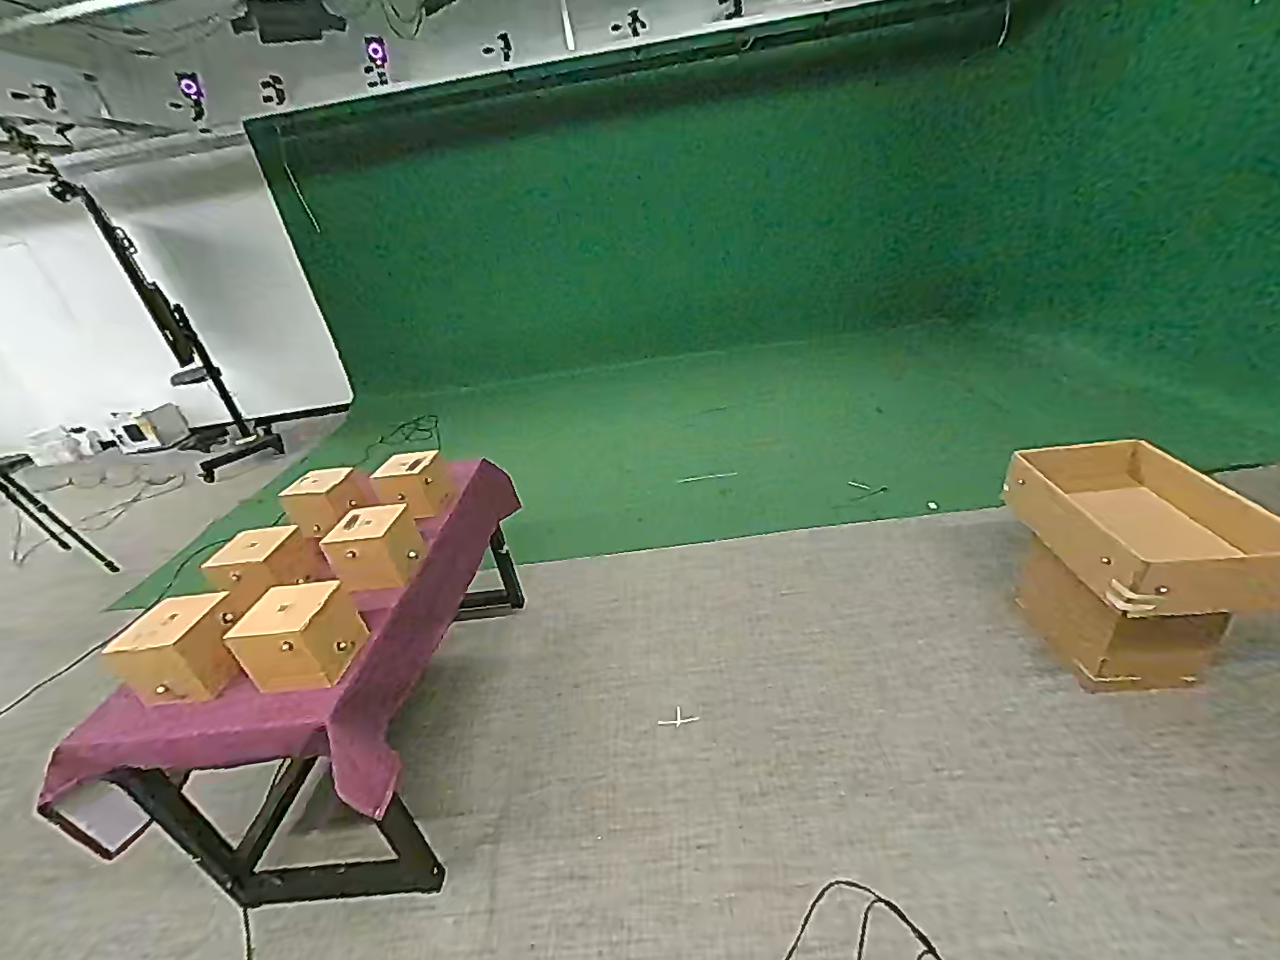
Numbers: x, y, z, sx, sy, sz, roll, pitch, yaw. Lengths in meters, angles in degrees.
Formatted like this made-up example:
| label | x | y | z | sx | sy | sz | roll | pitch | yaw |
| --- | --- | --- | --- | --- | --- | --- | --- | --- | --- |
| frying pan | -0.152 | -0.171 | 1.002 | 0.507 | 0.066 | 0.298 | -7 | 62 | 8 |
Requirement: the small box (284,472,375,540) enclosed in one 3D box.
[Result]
| label | x | y | z | sx | sy | sz | roll | pitch | yaw |
| --- | --- | --- | --- | --- | --- | --- | --- | --- | --- |
| small box | -1.031 | 0.088 | 1.815 | 0.179 | 0.176 | 0.168 | -4 | 28 | 11 |

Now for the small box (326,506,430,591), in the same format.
| label | x | y | z | sx | sy | sz | roll | pitch | yaw |
| --- | --- | --- | --- | --- | --- | --- | --- | --- | --- |
| small box | -0.721 | 0.194 | 1.508 | 0.179 | 0.176 | 0.168 | -7 | 29 | 7 |

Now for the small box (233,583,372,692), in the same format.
| label | x | y | z | sx | sy | sz | roll | pitch | yaw |
| --- | --- | --- | --- | --- | --- | --- | --- | --- | --- |
| small box | -0.749 | 0.357 | 1.220 | 0.179 | 0.176 | 0.168 | -7 | 28 | 6 |

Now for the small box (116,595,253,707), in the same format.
| label | x | y | z | sx | sy | sz | roll | pitch | yaw |
| --- | --- | --- | --- | --- | --- | --- | --- | --- | --- |
| small box | -1.017 | 0.393 | 1.247 | 0.168 | 0.176 | 0.179 | -8 | 28 | 6 |
